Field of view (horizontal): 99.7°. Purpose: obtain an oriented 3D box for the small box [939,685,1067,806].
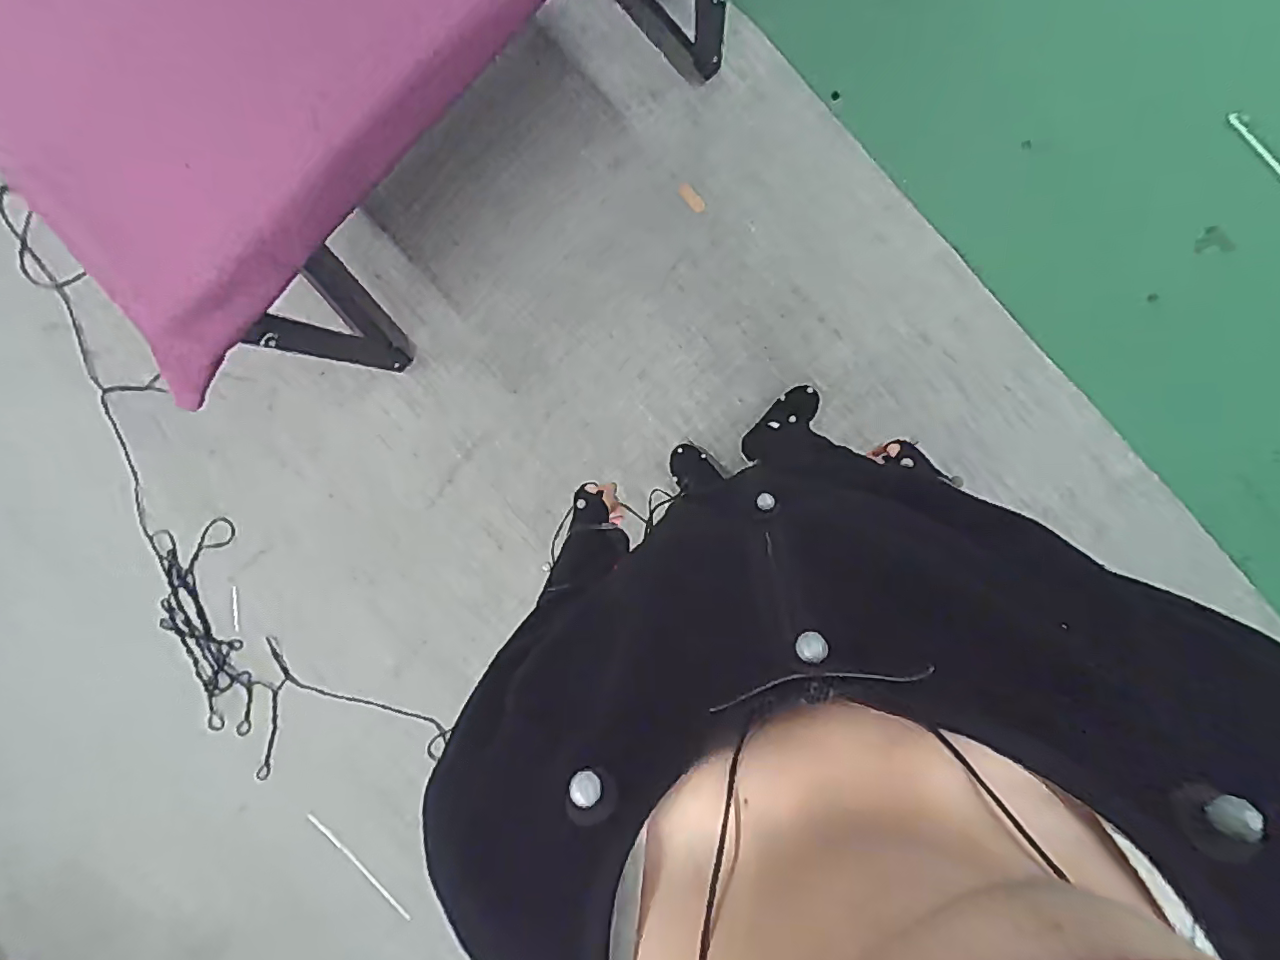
[{"bbox_3d":[0.898,0.657,1.360,0.168,0.176,0.179,43,101,3],"label":"small box"}]
